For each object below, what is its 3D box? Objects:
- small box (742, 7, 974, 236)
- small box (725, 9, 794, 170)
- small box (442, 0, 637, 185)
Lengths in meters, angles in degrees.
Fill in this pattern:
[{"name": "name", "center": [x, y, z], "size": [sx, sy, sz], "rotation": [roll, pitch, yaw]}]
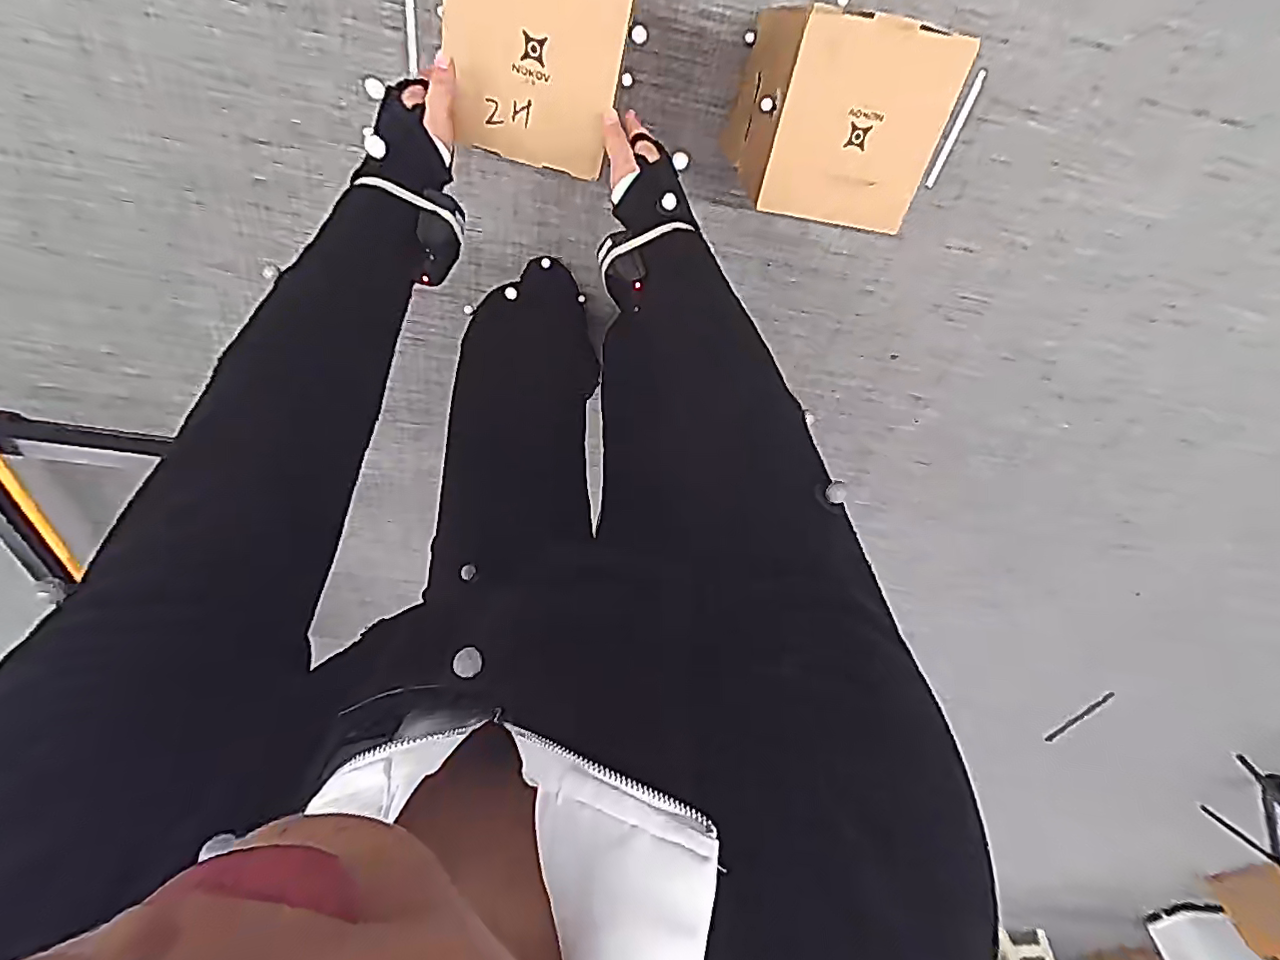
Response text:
[{"name": "small box", "center": [0.220, -0.402, 0.607], "size": [0.168, 0.176, 0.179], "rotation": [8, 131, -4]}, {"name": "small box", "center": [0.226, -0.505, 0.733], "size": [0.179, 0.176, 0.168], "rotation": [10, 130, -9]}, {"name": "small box", "center": [-0.100, -0.445, 0.567], "size": [0.168, 0.176, 0.179], "rotation": [11, 130, -9]}]
